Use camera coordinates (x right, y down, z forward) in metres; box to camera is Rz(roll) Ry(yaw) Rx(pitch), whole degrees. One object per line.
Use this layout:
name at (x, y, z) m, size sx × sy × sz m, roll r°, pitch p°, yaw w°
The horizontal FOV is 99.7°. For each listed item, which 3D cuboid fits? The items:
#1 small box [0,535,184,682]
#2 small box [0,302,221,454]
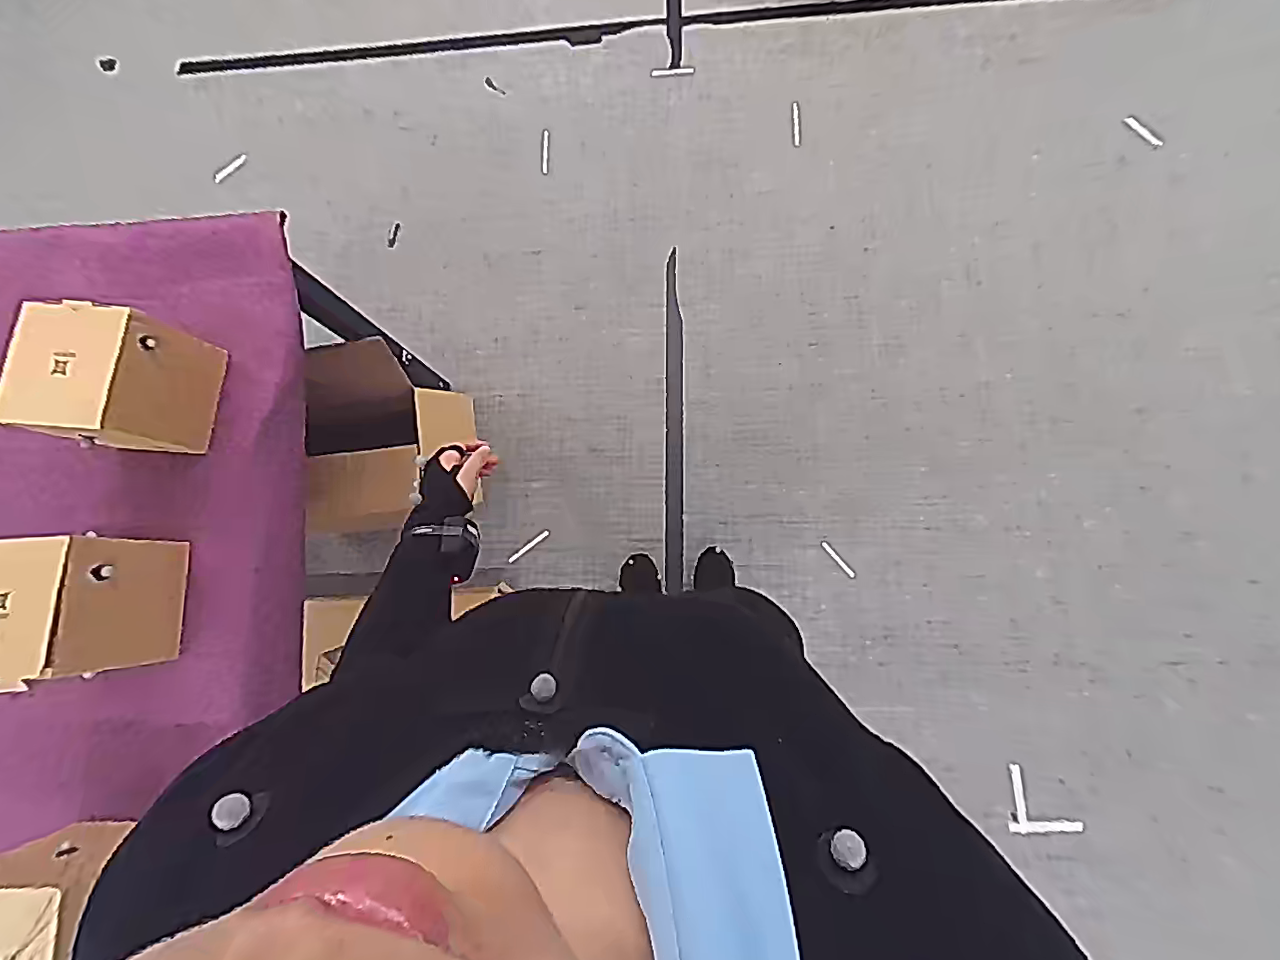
small box at (-0.782, 0.173, 0.745) m, size 0.168 × 0.176 × 0.179 m, roll -4°, pitch 80°, yaw 6°
small box at (-0.771, -0.140, 0.799) m, size 0.168 × 0.176 × 0.179 m, roll 4°, pitch 80°, yaw 5°
